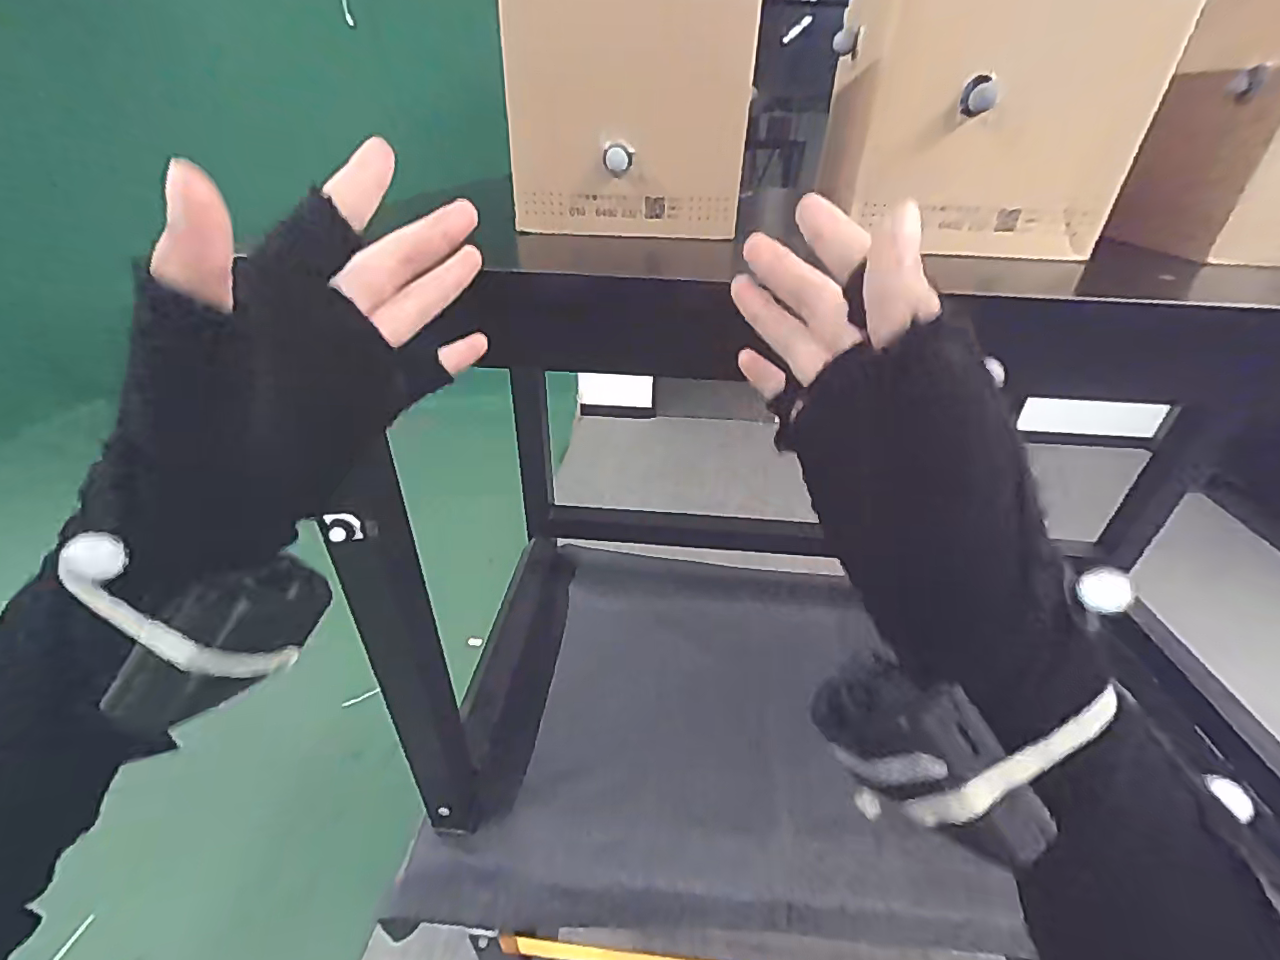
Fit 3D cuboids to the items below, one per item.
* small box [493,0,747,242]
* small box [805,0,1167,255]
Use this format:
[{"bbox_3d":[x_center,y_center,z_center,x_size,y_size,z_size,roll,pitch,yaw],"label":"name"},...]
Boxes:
[{"bbox_3d":[-0.014,-0.299,0.435,0.168,0.176,0.179,2,34,1],"label":"small box"},{"bbox_3d":[0.227,-0.270,0.400,0.168,0.176,0.179,5,33,6],"label":"small box"}]
